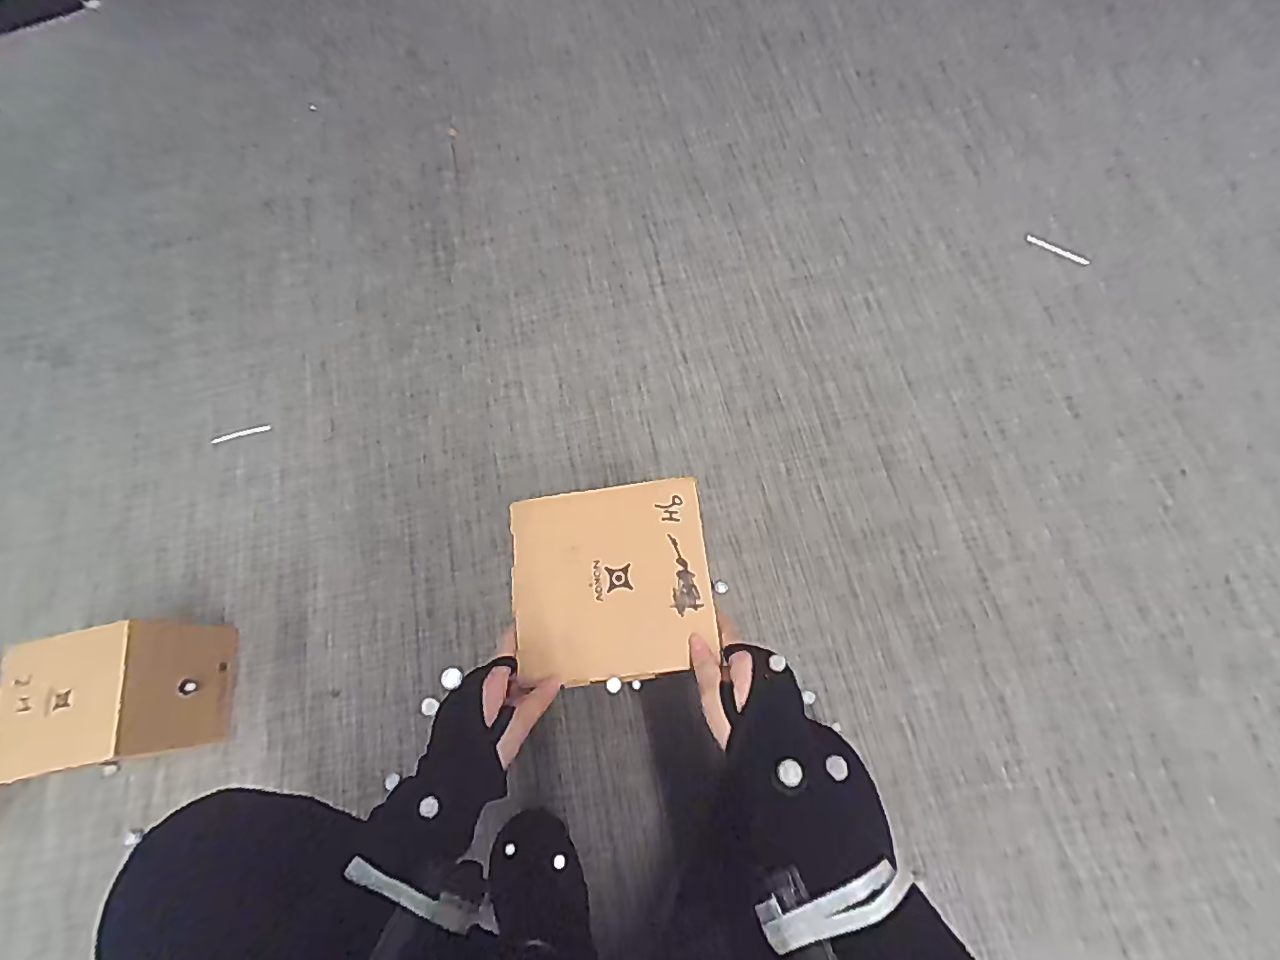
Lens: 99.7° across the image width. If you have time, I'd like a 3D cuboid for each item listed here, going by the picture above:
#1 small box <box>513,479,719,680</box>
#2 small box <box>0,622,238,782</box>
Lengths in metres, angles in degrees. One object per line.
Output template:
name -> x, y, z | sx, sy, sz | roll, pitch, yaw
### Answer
small box -> -0.016, 0.111, 0.551 | 0.179, 0.176, 0.168 | -8, 71, 5
small box -> -0.704, 0.299, 0.750 | 0.179, 0.176, 0.168 | -13, 69, 3
